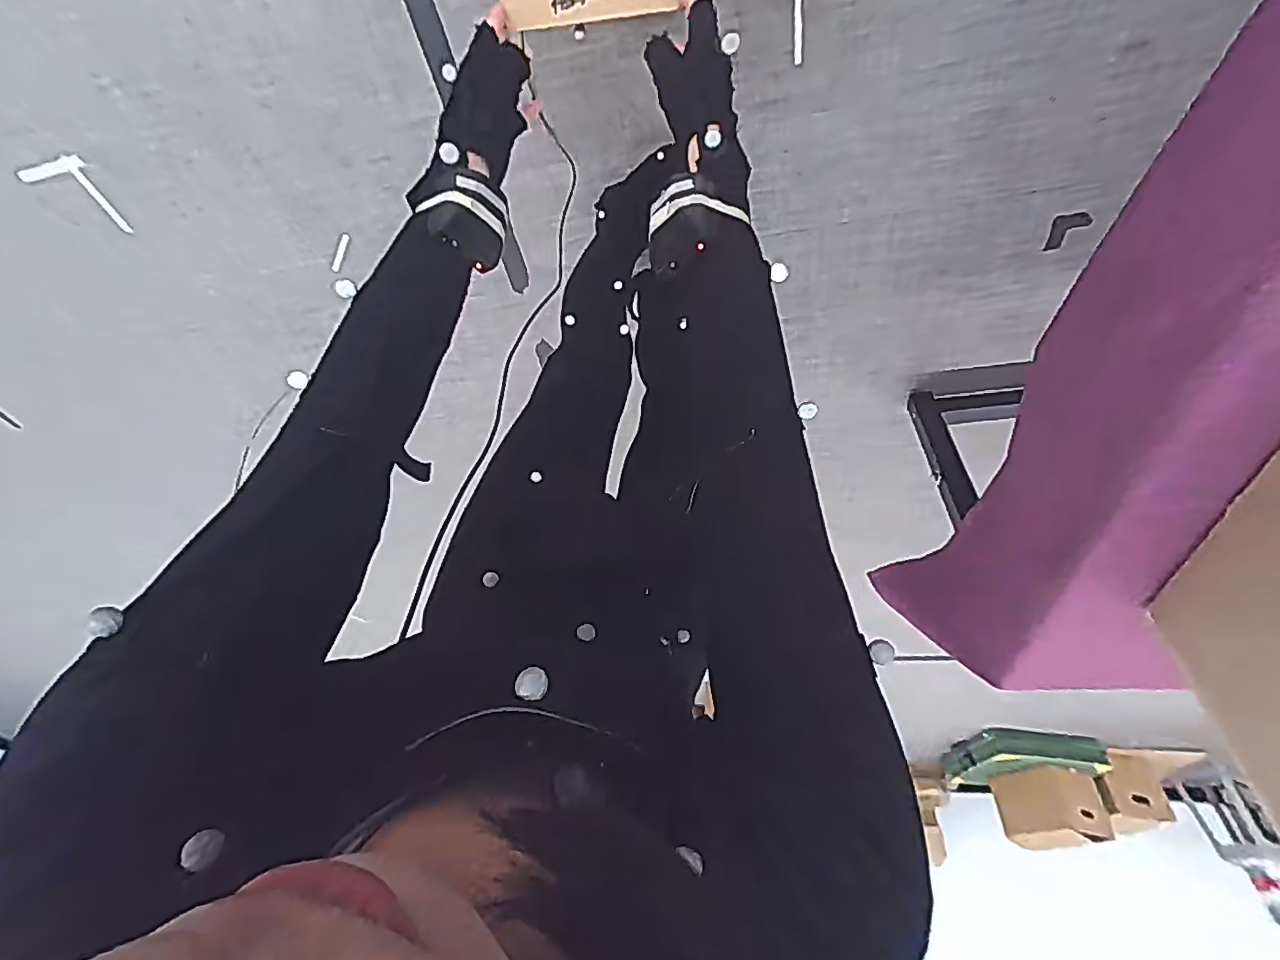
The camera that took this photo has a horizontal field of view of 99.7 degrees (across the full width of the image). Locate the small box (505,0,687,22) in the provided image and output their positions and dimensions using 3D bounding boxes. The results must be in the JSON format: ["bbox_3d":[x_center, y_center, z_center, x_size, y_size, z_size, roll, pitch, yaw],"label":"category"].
[{"bbox_3d":[-0.042,-0.537,0.486,0.168,0.176,0.179,-1,134,7],"label":"small box"}]
